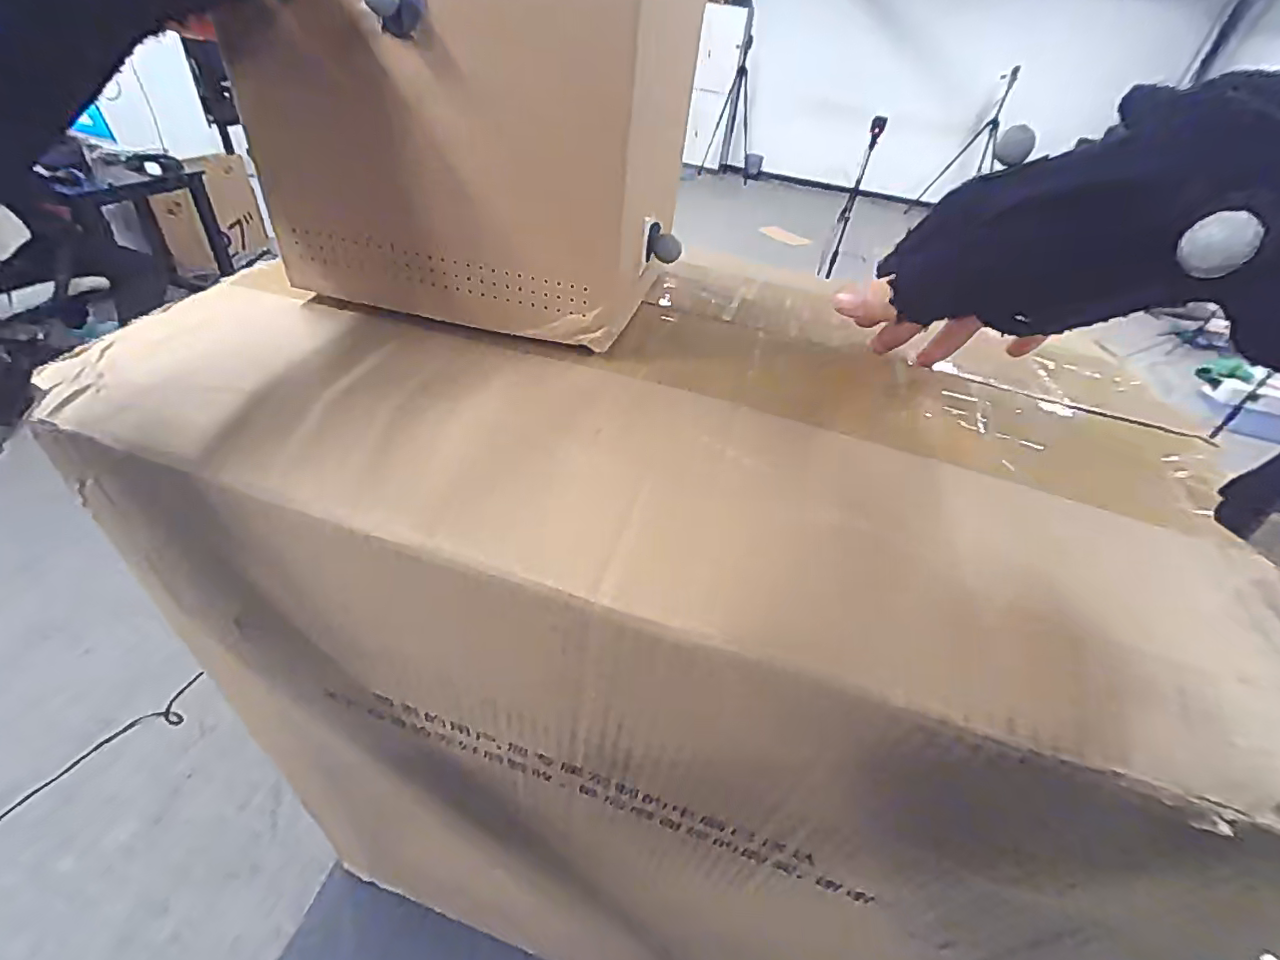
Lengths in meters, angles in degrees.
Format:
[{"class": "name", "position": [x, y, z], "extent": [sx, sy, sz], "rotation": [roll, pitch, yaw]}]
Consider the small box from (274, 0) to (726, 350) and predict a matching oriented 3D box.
[{"class": "small box", "position": [-0.061, -0.189, 0.293], "extent": [0.179, 0.176, 0.168], "rotation": [14, 41, 4]}]
